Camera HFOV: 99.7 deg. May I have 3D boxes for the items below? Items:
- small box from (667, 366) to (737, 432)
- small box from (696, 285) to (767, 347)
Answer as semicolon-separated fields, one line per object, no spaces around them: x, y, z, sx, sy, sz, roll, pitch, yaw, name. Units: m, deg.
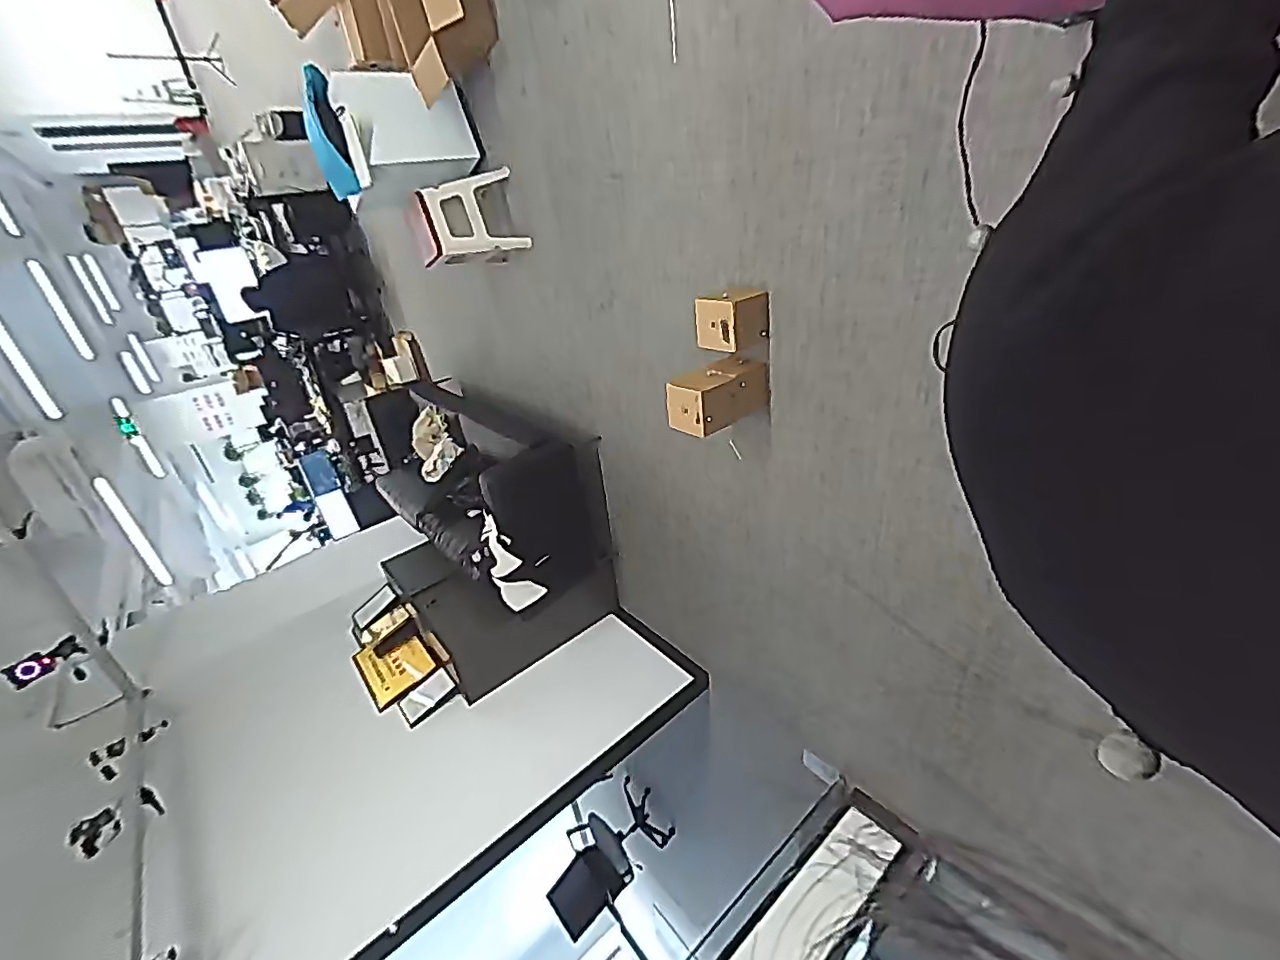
0.215;-0.285;1.867;0.179;0.176;0.168;27;133;45;small box
0.314;-0.561;1.833;0.179;0.176;0.168;26;132;46;small box
